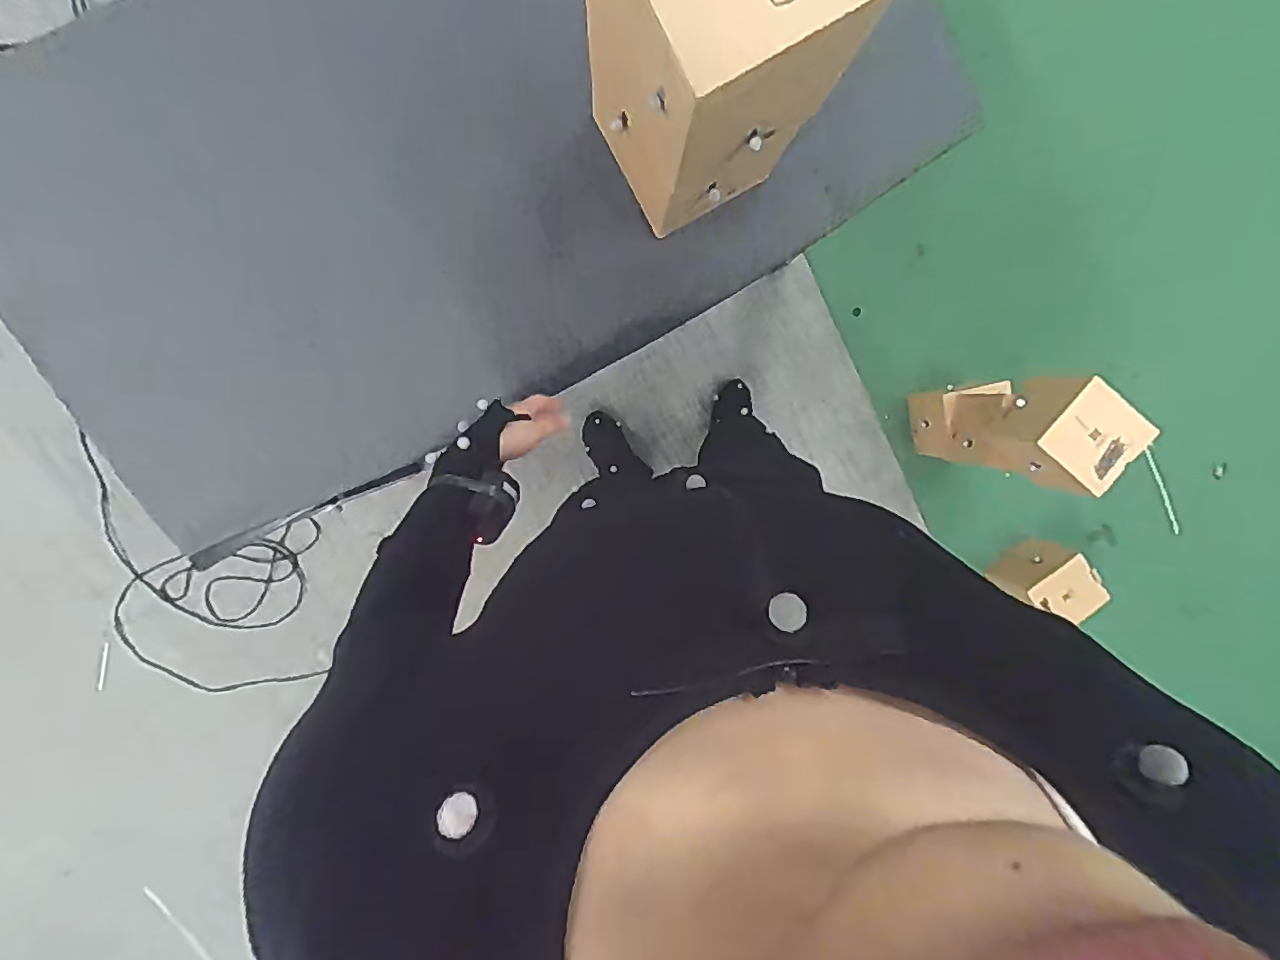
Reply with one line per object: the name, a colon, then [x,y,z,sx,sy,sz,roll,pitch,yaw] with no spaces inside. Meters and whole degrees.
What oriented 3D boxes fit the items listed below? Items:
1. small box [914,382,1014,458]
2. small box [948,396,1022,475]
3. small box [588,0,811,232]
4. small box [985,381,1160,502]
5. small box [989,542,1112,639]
small box: [0.840,-0.155,1.411,0.179,0.176,0.168,-12,99,-1]
small box: [0.857,-0.101,1.256,0.179,0.176,0.168,8,99,-4]
small box: [0.059,-0.405,0.604,0.168,0.176,0.179,-29,97,2]
small box: [0.860,-0.085,1.093,0.179,0.176,0.168,38,96,-6]
small box: [1.120,0.295,1.489,0.179,0.176,0.168,-38,99,2]
